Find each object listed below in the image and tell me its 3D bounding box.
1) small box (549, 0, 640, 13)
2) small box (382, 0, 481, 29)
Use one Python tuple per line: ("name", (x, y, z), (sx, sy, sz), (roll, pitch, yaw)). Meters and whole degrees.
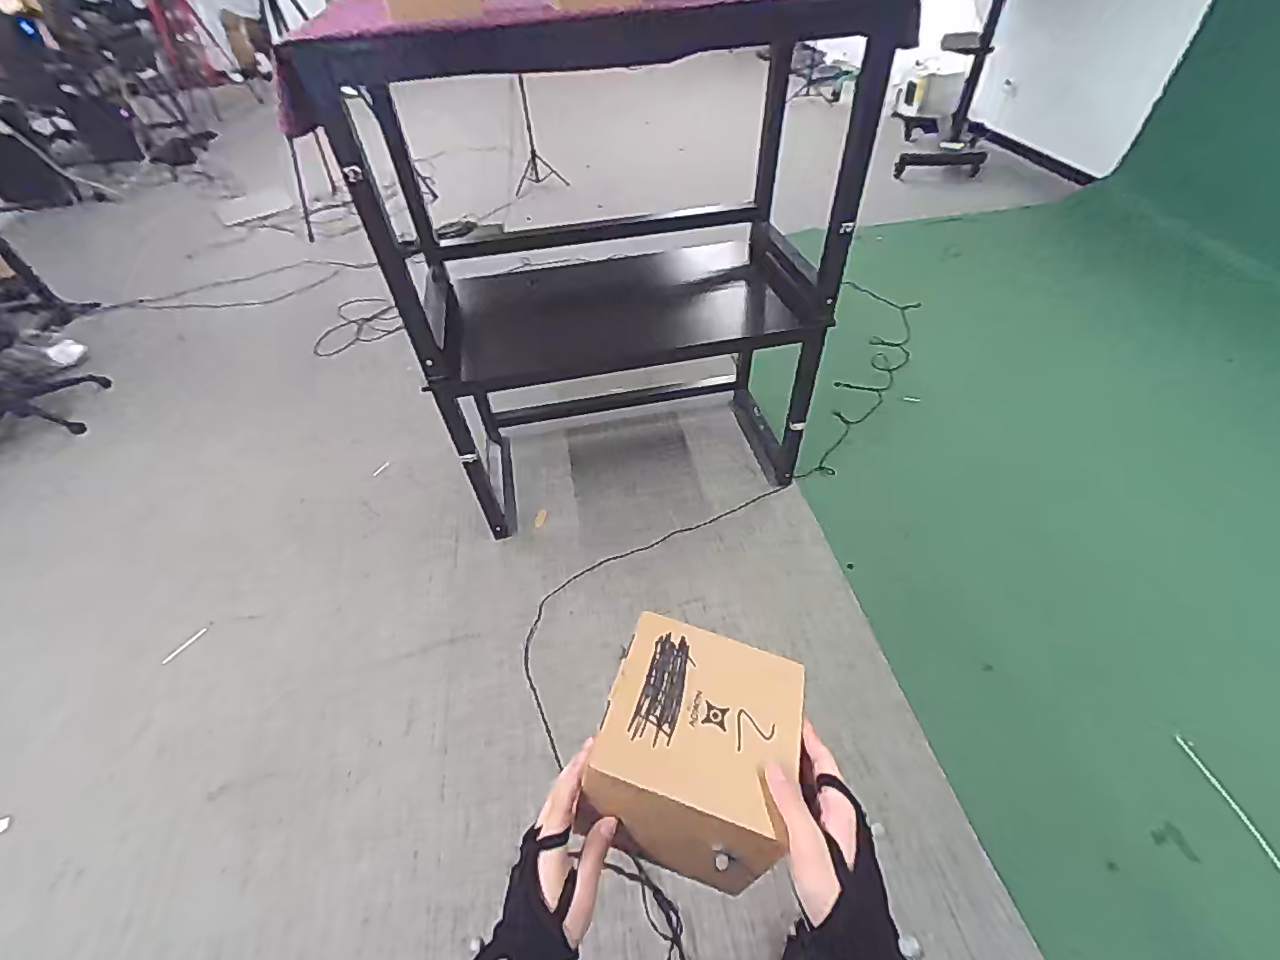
("small box", (-0.103, -1.033, 1.053), (0.179, 0.176, 0.168), (-11, 47, -7))
("small box", (-0.404, -0.972, 1.013), (0.179, 0.176, 0.168), (-13, 48, -7))
